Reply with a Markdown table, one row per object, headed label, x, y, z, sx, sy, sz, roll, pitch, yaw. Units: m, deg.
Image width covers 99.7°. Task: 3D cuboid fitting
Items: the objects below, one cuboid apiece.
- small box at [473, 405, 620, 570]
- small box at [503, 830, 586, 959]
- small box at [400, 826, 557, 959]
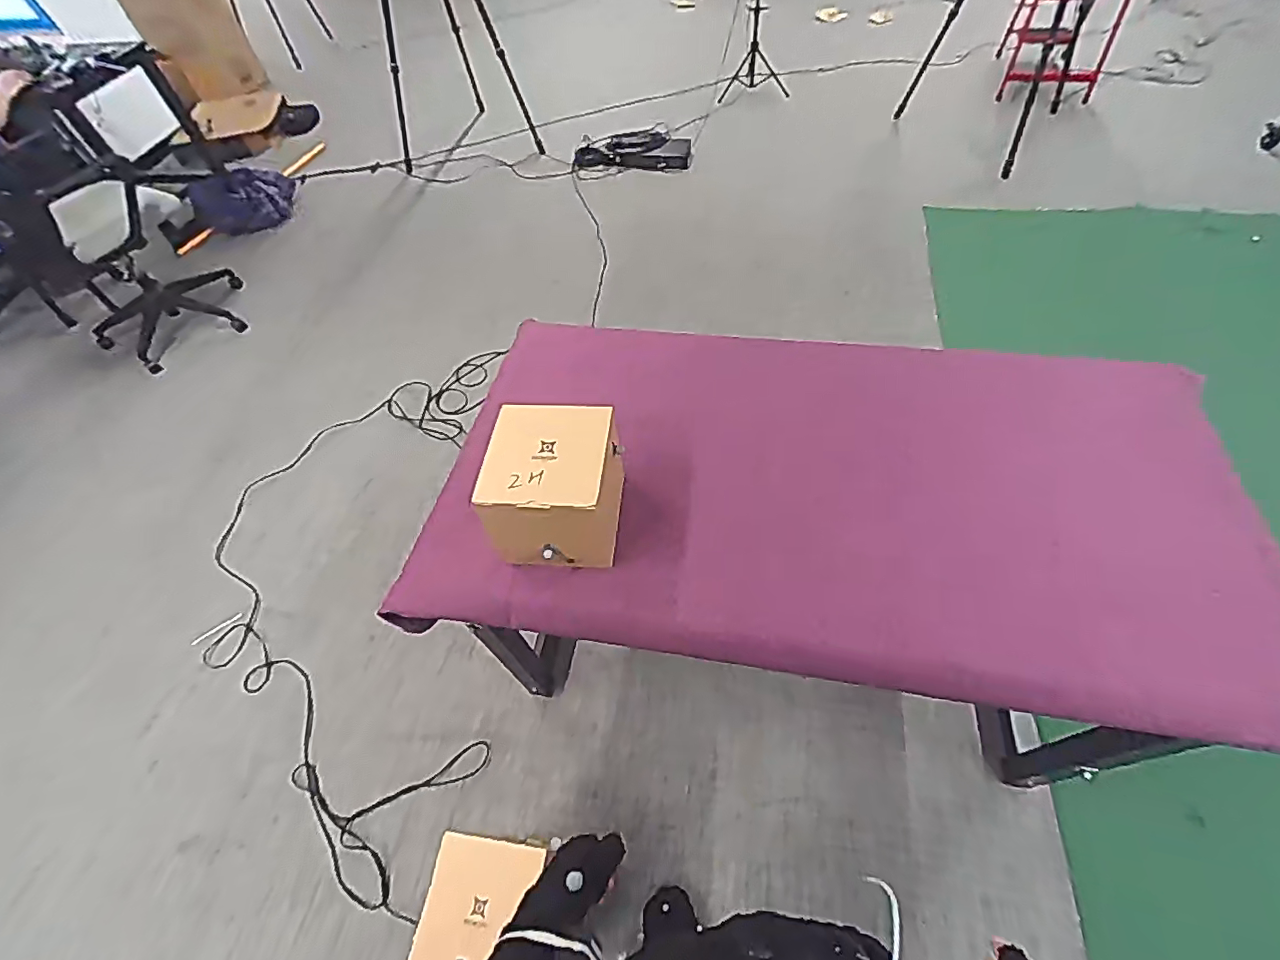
| label | x | y | z | sx | sy | sz | roll | pitch | yaw |
| --- | --- | --- | --- | --- | --- | --- | --- | --- | --- |
| small box | -0.123 | 0.012 | 0.799 | 0.168 | 0.176 | 0.179 | 3 | 54 | 6 |
| small box | -0.216 | 0.843 | 1.112 | 0.168 | 0.176 | 0.179 | 8 | 57 | 10 |
| small box | -0.236 | 0.656 | 0.843 | 0.168 | 0.176 | 0.179 | 5 | 58 | 8 |
